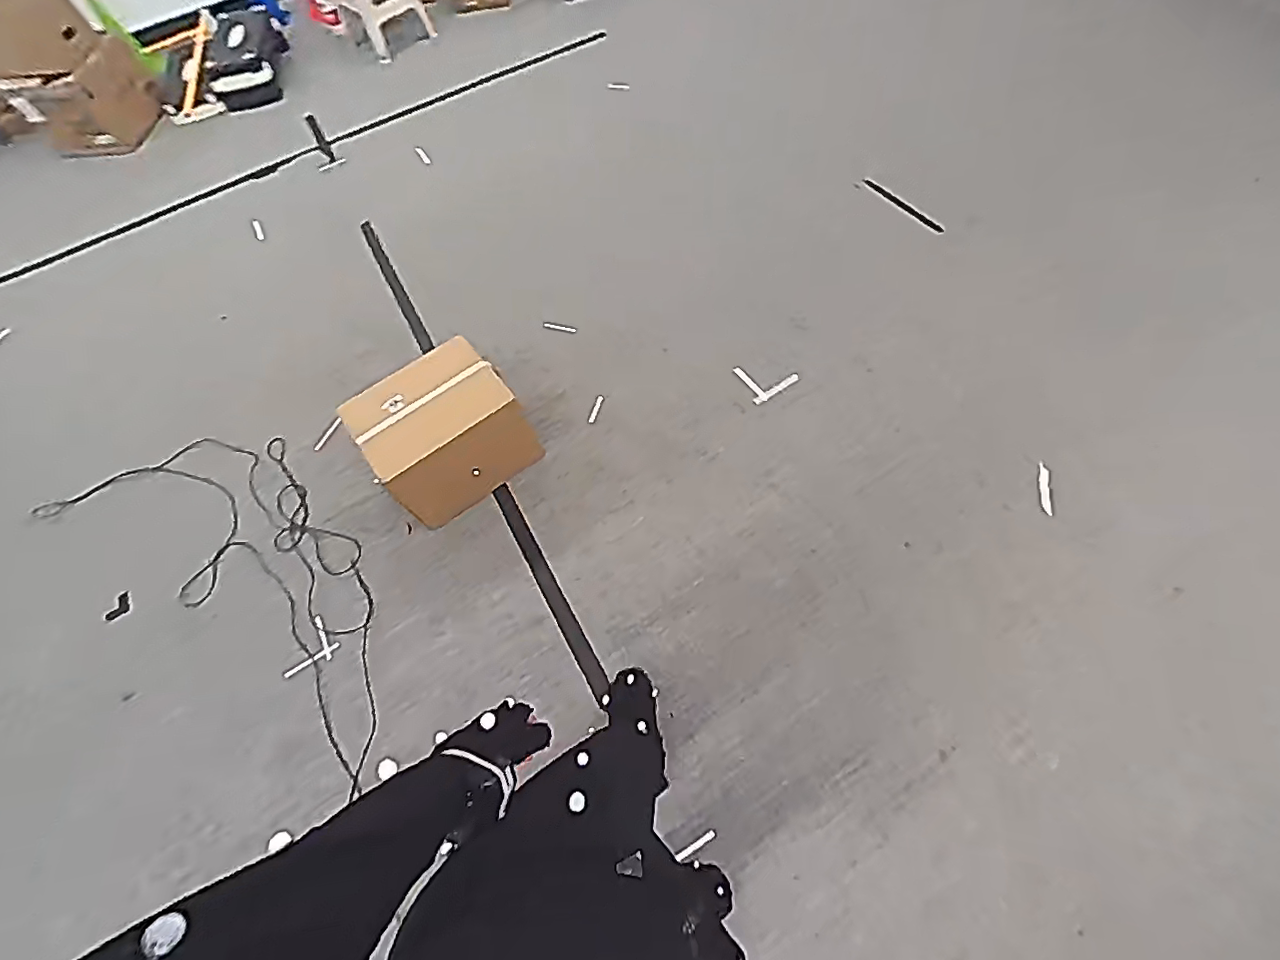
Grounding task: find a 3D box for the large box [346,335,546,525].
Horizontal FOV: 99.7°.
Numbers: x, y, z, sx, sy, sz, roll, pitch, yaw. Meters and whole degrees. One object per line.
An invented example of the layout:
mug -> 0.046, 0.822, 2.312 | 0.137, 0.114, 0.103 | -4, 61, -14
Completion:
large box -> -0.553, -0.140, 1.601 | 0.408, 0.320, 0.320 | -36, 65, -12
